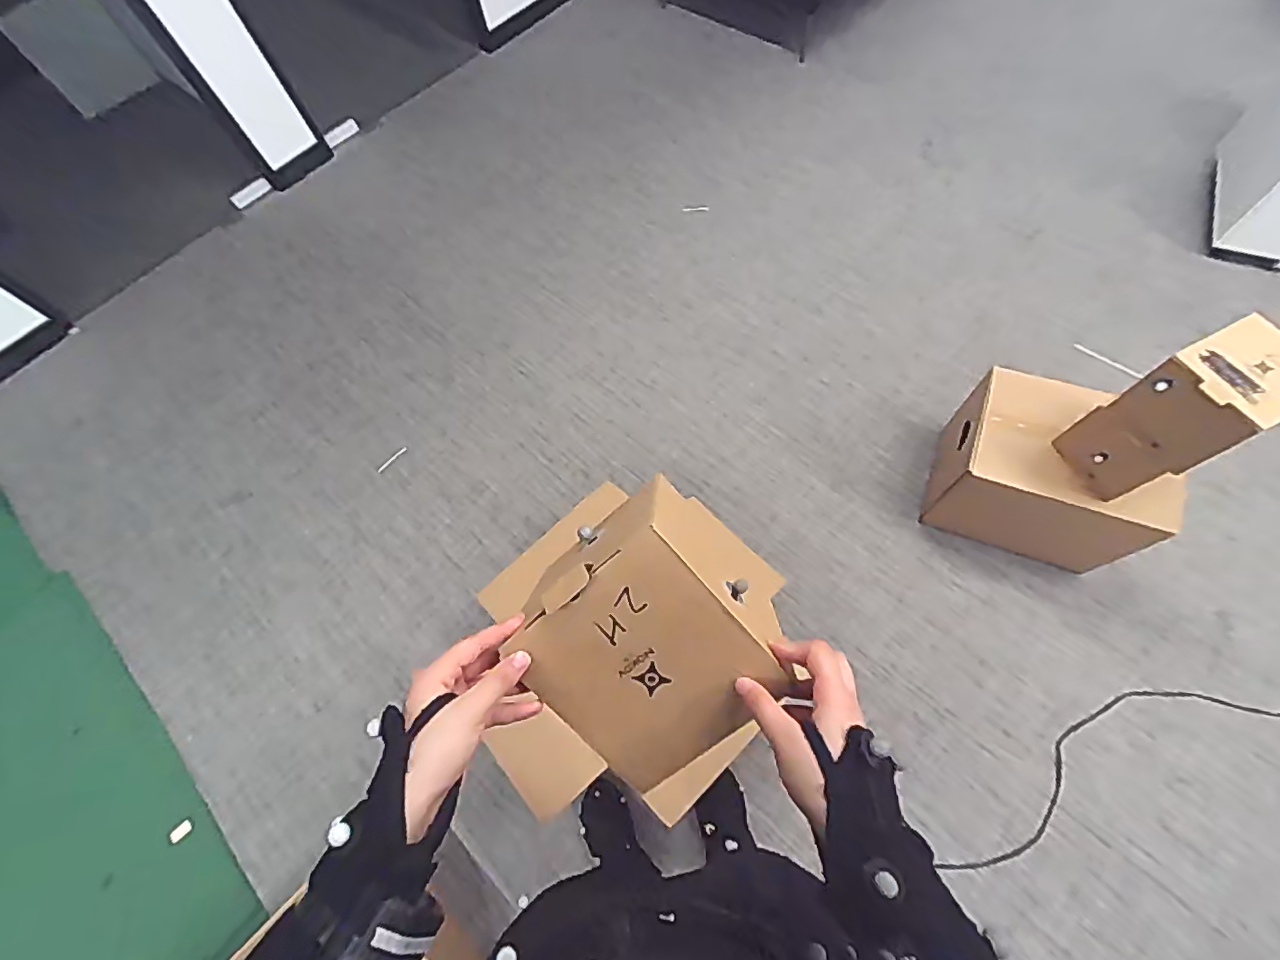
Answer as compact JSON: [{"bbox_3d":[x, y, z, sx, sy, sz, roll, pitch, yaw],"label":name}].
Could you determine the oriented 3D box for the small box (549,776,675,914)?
[{"bbox_3d":[-0.052,0.752,1.126,0.176,0.168,0.179,41,47,-7],"label":"small box"}]

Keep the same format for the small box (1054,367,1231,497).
[{"bbox_3d":[1.000,-0.091,1.103,0.179,0.176,0.168,-27,66,-5],"label":"small box"}]

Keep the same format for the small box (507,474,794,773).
[{"bbox_3d":[0.013,0.118,0.509,0.168,0.176,0.179,-41,98,12],"label":"small box"}]
